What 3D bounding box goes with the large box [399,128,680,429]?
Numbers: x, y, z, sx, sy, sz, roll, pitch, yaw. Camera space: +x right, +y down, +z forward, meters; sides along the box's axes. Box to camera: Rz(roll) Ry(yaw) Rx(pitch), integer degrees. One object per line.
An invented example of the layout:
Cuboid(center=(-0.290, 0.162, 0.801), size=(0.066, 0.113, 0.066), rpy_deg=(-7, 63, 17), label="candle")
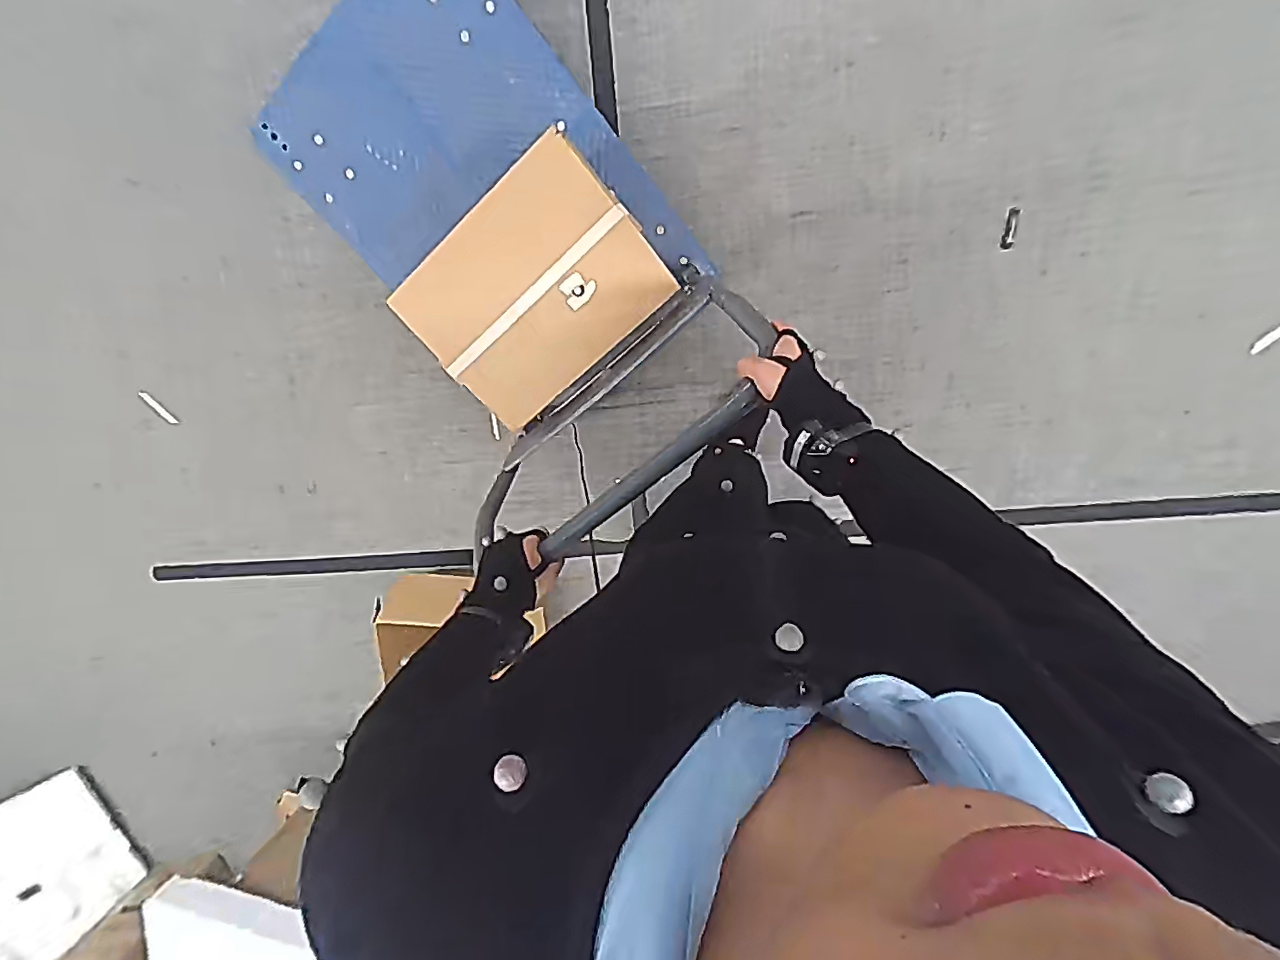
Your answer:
Cuboid(center=(-0.174, -0.374, 1.064), size=(0.408, 0.320, 0.320), rpy_deg=(-39, 107, 15), label="large box")
